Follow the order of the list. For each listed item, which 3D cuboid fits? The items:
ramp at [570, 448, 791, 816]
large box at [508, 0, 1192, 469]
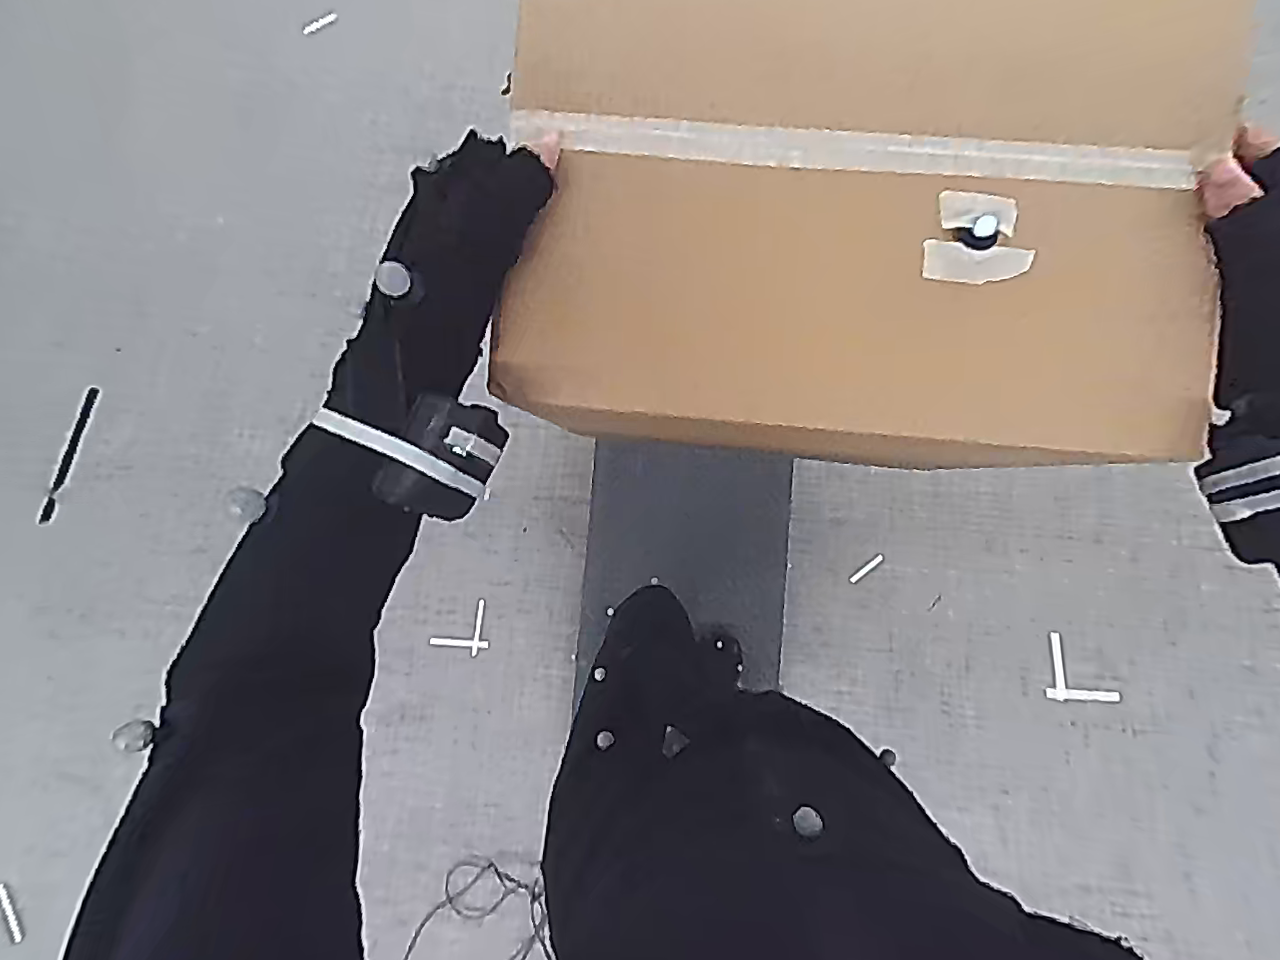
[{"bbox_3d":[0.106,0.293,1.324,0.509,0.206,0.991,3,77,1],"label":"ramp"},{"bbox_3d":[0.127,-0.180,0.479,0.408,0.320,0.320,5,91,2],"label":"large box"}]
